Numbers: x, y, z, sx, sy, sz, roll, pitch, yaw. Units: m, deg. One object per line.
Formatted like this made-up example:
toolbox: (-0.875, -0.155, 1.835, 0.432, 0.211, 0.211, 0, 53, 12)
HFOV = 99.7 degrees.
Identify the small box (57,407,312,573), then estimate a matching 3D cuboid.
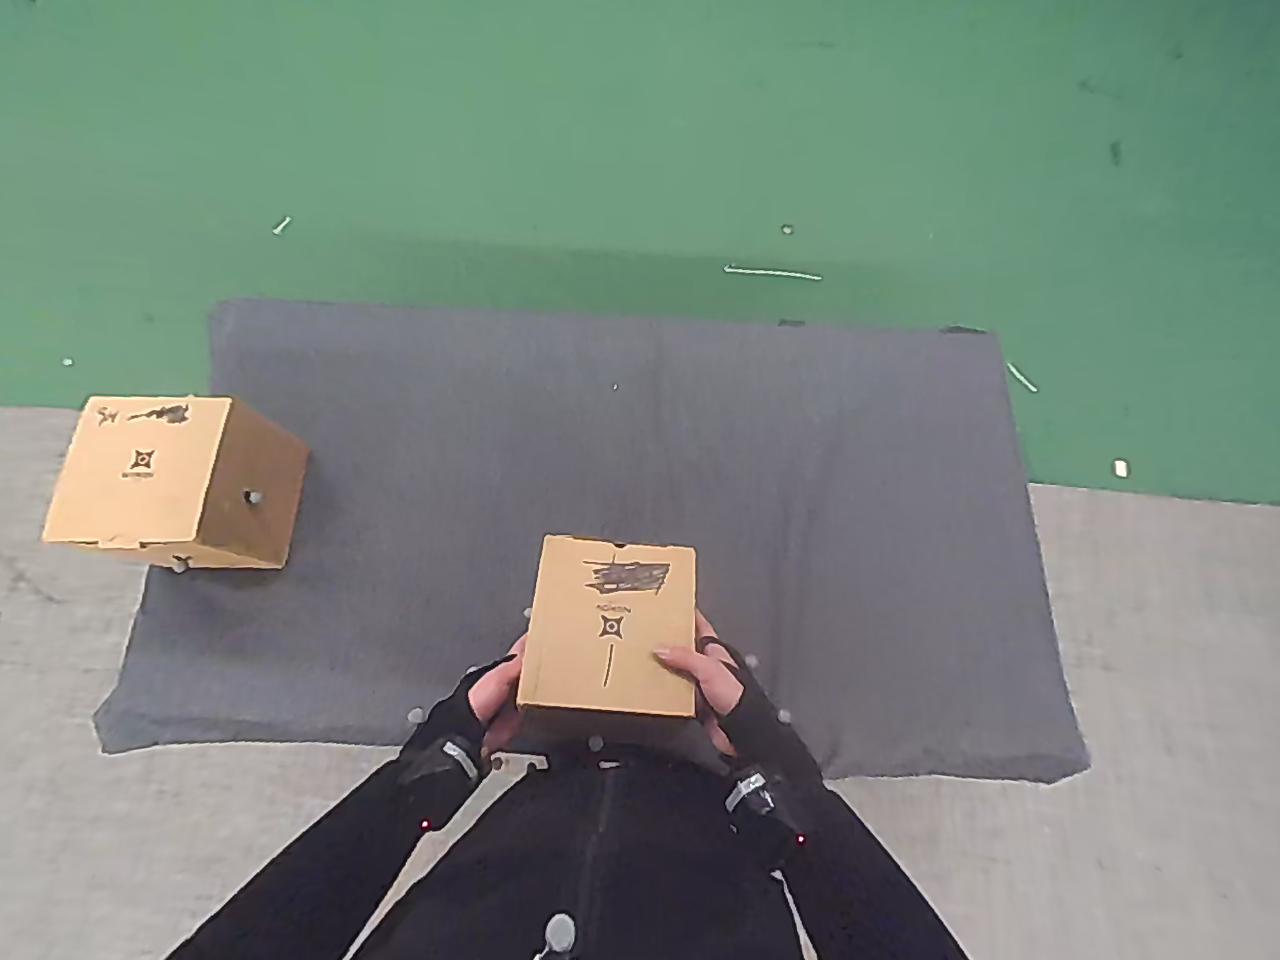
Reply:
small box: (-0.551, 0.022, 0.686, 0.168, 0.176, 0.179, 1, 73, -2)
